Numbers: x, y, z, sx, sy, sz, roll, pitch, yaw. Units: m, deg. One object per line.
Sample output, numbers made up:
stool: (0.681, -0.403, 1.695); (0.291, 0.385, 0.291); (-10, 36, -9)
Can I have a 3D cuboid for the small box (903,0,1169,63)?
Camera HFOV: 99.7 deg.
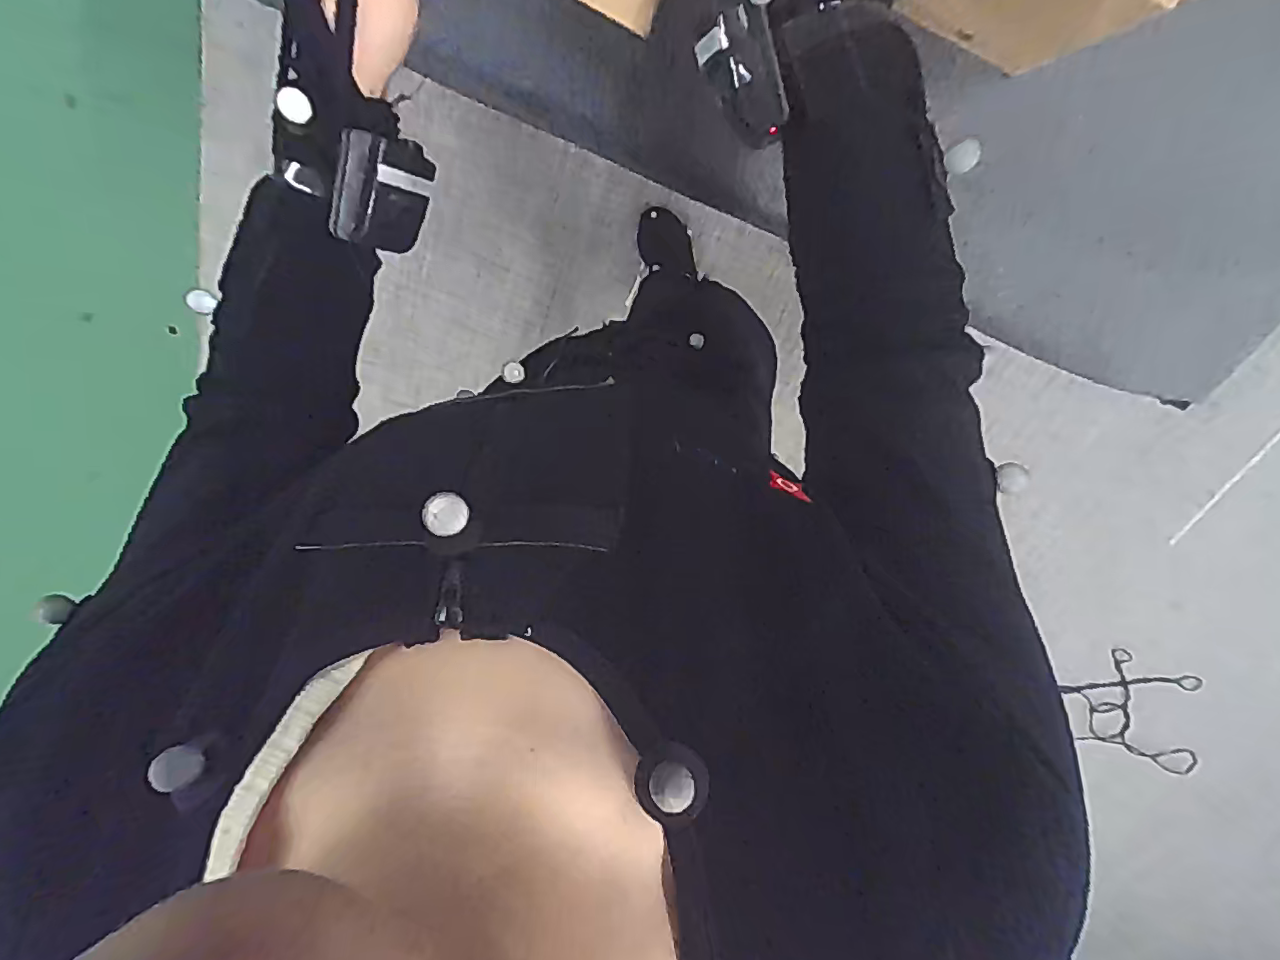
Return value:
small box: (0.260, -0.396, 0.324); (0.168, 0.176, 0.179); (23, 116, -6)
